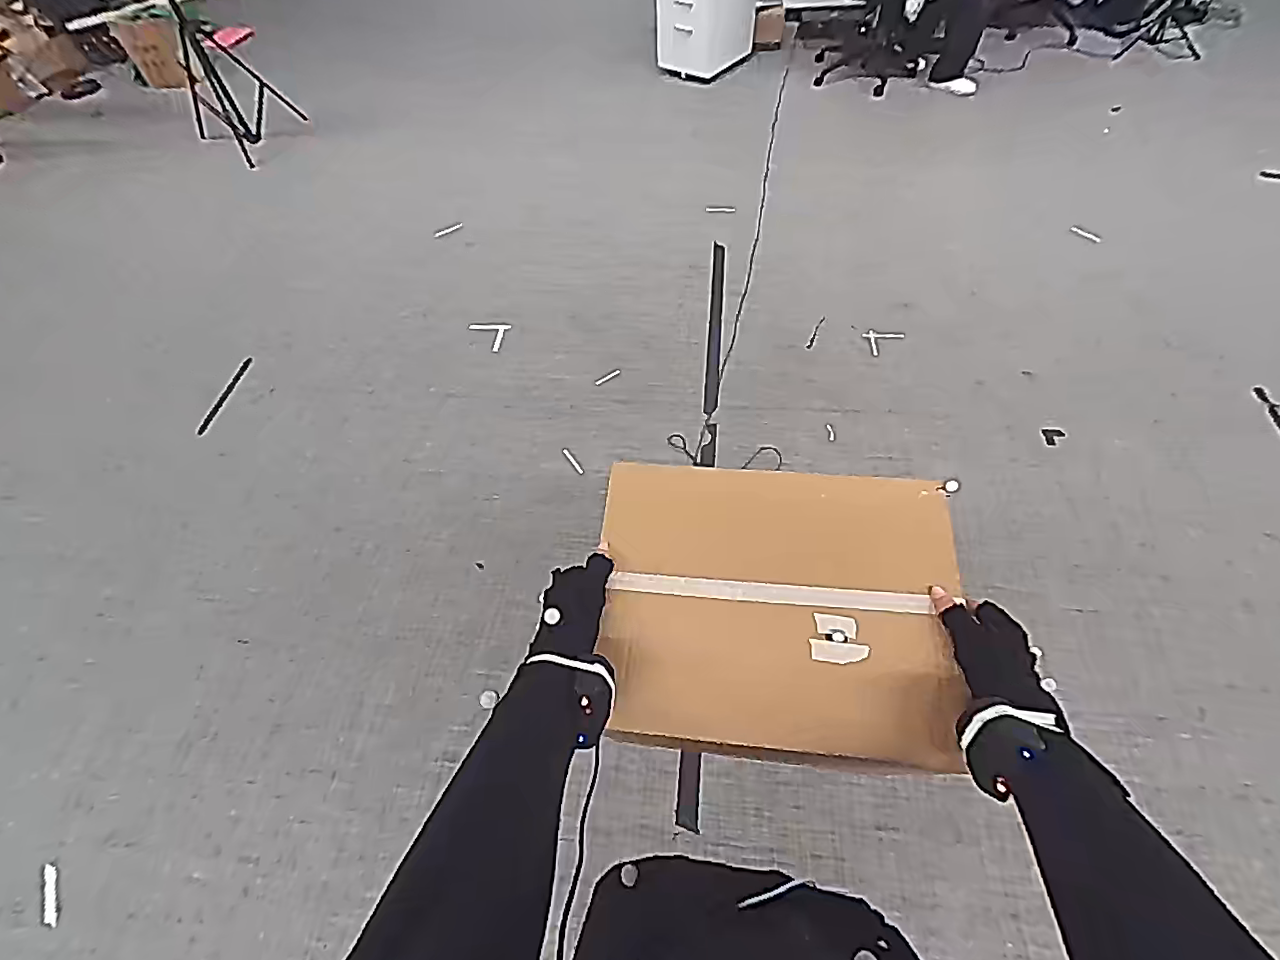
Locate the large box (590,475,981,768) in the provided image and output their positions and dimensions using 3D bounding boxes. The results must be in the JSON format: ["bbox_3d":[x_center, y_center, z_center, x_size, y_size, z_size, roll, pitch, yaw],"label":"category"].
[{"bbox_3d":[0.165,0.207,0.752,0.408,0.320,0.320,4,63,6],"label":"large box"}]
